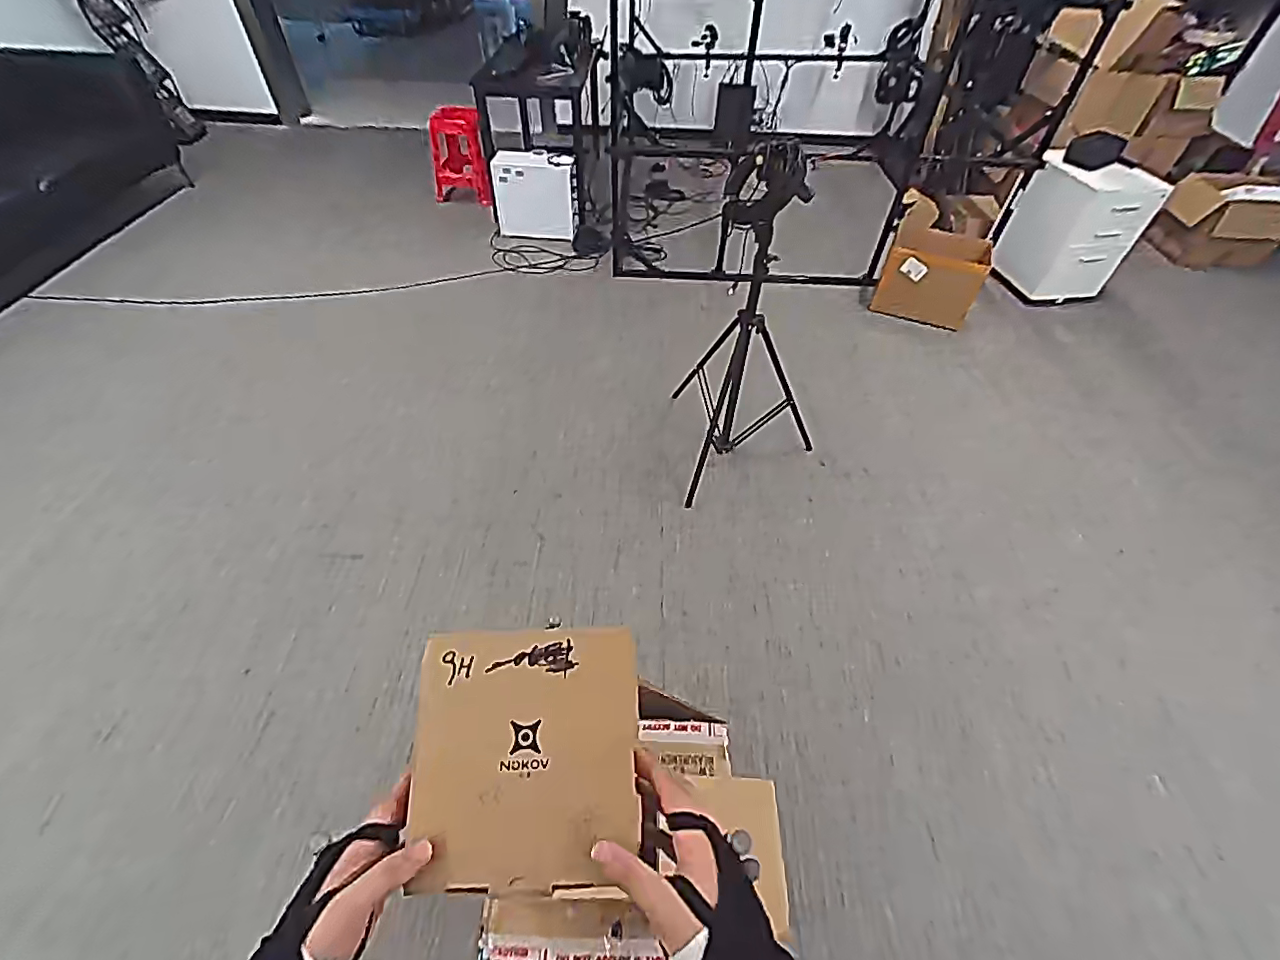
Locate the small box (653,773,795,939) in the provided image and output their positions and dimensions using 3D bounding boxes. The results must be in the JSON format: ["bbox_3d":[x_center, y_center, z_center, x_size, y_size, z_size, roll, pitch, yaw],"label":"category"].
[{"bbox_3d":[0.106,0.539,0.773,0.168,0.176,0.179,3,50,-1],"label":"small box"}]

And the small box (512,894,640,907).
[{"bbox_3d":[-0.085,0.510,0.790,0.168,0.176,0.179,0,52,-1],"label":"small box"}]

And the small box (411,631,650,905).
[{"bbox_3d":[-0.078,0.228,0.469,0.168,0.176,0.179,-4,71,0],"label":"small box"}]
